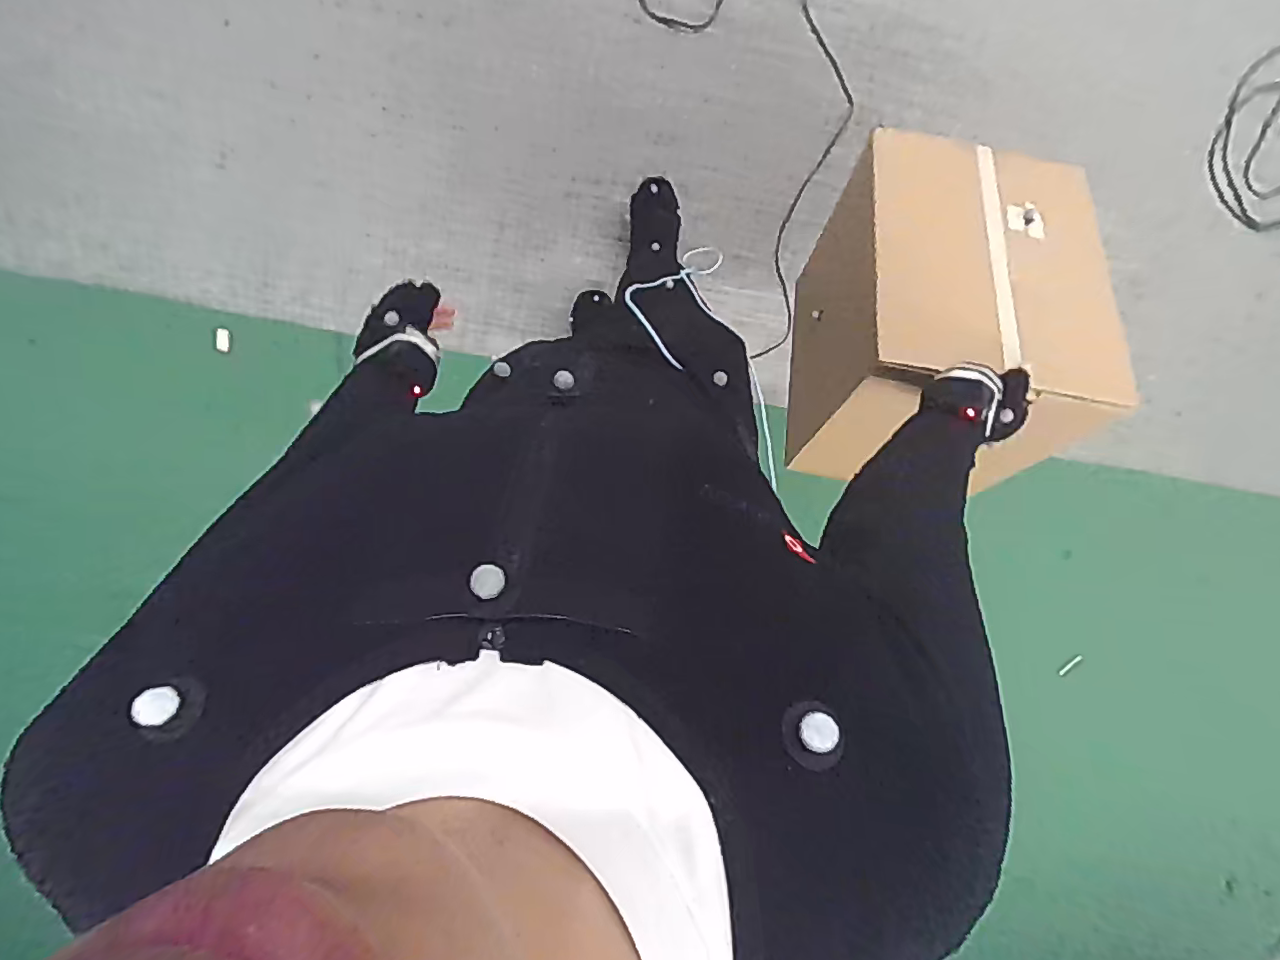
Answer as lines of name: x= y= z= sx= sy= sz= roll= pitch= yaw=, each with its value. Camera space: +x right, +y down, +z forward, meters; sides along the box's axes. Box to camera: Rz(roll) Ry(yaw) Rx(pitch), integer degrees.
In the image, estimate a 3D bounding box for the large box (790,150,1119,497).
large box: x=0.438 y=-0.226 z=0.858 sx=0.320 sy=0.320 sz=0.408 roll=10 pitch=66 yaw=-2
